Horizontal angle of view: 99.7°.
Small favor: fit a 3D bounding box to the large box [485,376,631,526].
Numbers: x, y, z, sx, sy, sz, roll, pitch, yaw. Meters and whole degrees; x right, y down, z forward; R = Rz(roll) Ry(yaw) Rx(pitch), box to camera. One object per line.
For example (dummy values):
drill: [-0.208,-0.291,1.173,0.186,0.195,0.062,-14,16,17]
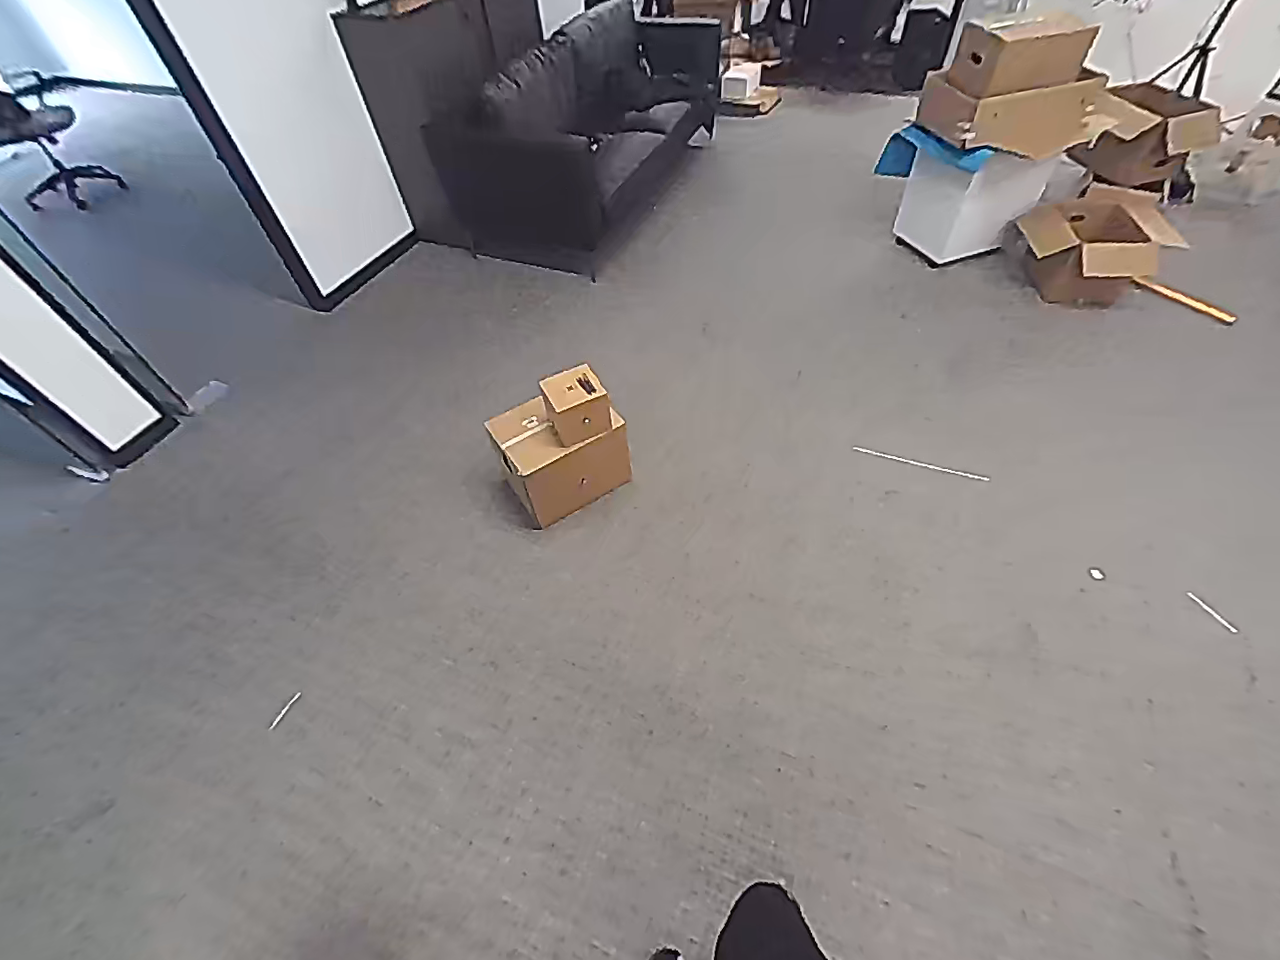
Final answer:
large box: [-0.286,-0.106,1.981,0.408,0.320,0.320,-31,54,-18]
